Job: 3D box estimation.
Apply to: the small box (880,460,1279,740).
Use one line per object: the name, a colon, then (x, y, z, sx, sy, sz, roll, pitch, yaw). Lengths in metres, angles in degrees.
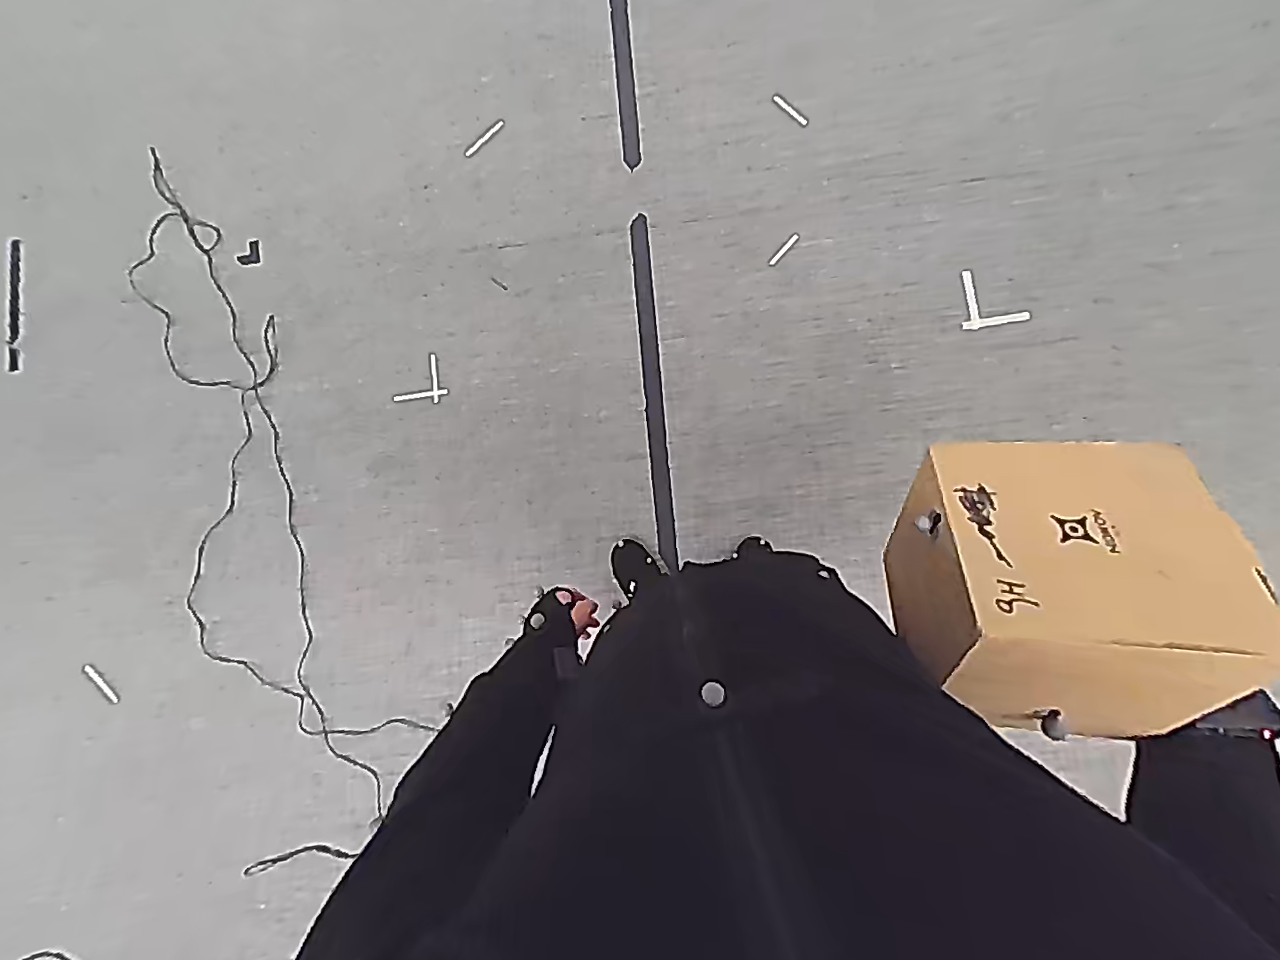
small box: (0.318, 0.101, 0.446, 0.179, 0.176, 0.168, 1, 50, 10)
